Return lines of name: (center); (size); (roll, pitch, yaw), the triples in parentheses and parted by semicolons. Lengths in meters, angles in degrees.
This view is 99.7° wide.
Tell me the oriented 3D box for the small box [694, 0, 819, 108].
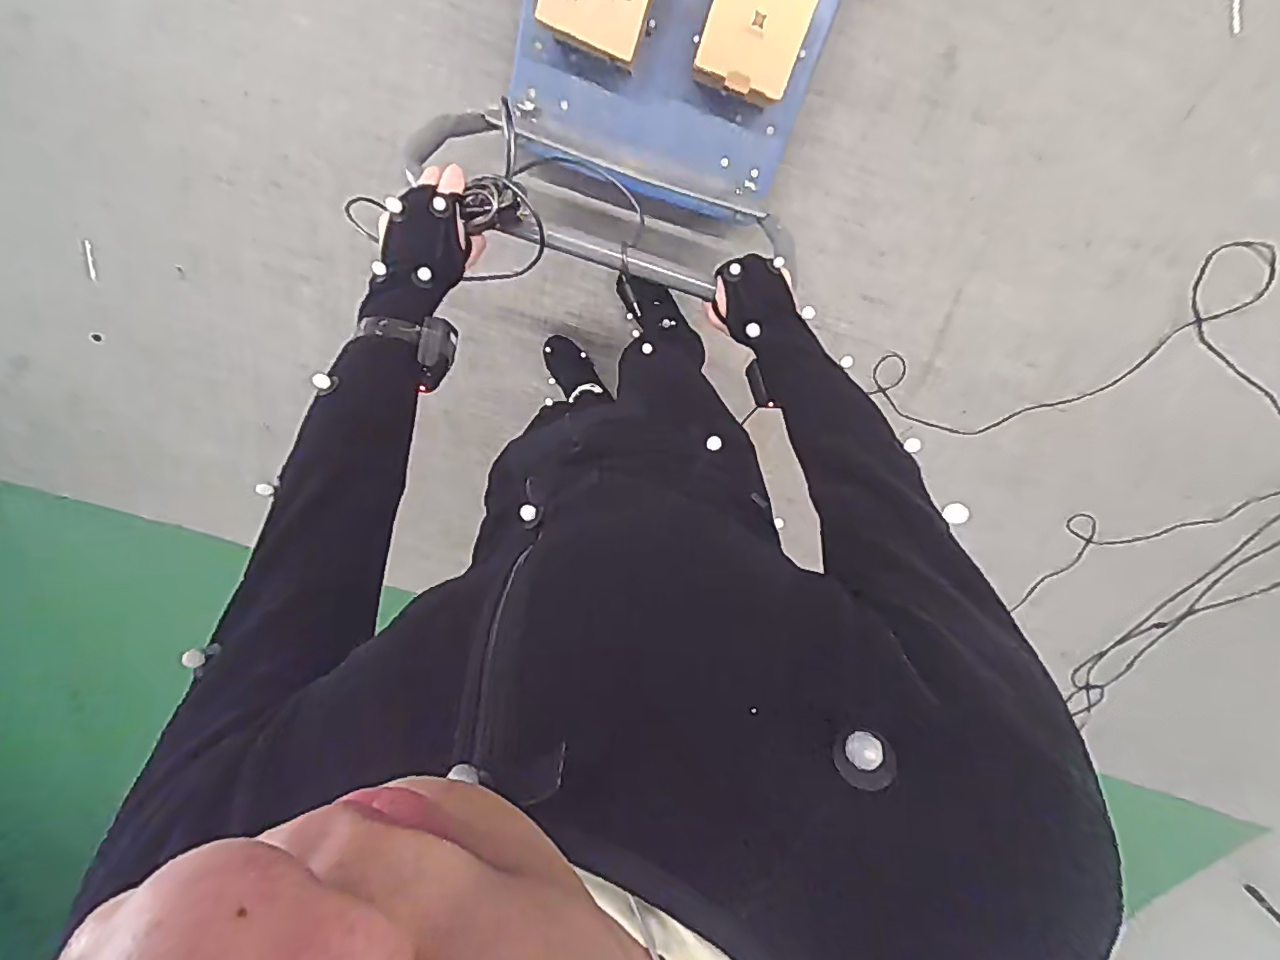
small box: (0.199, -0.799, 0.972); (0.168, 0.176, 0.179); (17, 122, -7)
